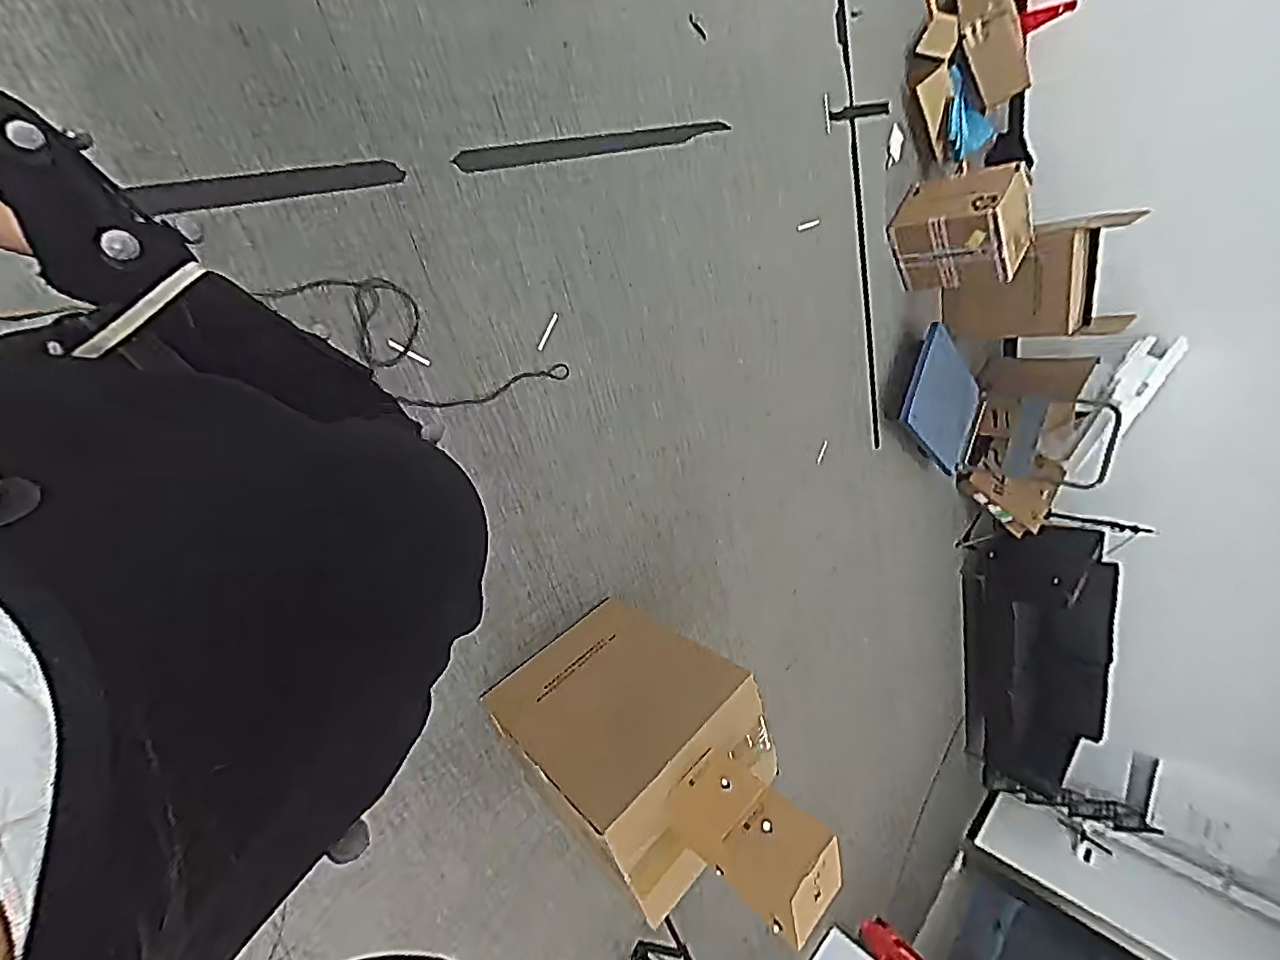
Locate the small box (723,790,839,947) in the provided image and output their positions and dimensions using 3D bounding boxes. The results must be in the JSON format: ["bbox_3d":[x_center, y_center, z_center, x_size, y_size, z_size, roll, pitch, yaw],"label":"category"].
[{"bbox_3d":[0.298,0.806,1.142,0.168,0.176,0.179,-30,118,-35],"label":"small box"}]

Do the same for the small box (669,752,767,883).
[{"bbox_3d":[0.188,0.773,1.261,0.168,0.176,0.179,-32,119,-34],"label":"small box"}]
